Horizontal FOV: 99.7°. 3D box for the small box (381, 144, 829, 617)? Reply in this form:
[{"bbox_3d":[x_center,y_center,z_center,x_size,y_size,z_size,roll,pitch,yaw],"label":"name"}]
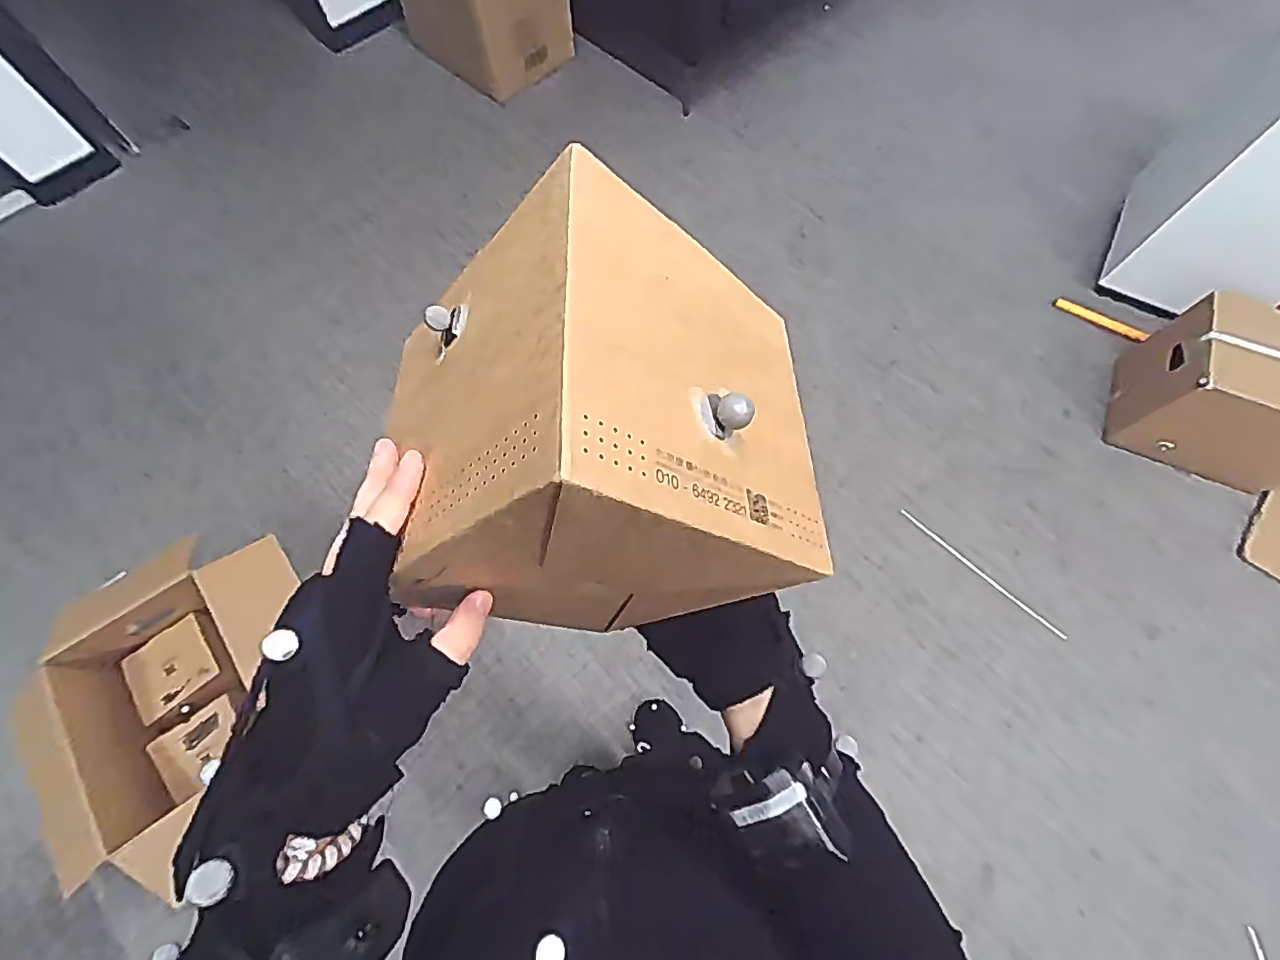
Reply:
[{"bbox_3d":[-0.023,-0.024,0.303,0.168,0.179,0.176,22,55,-39],"label":"small box"}]
